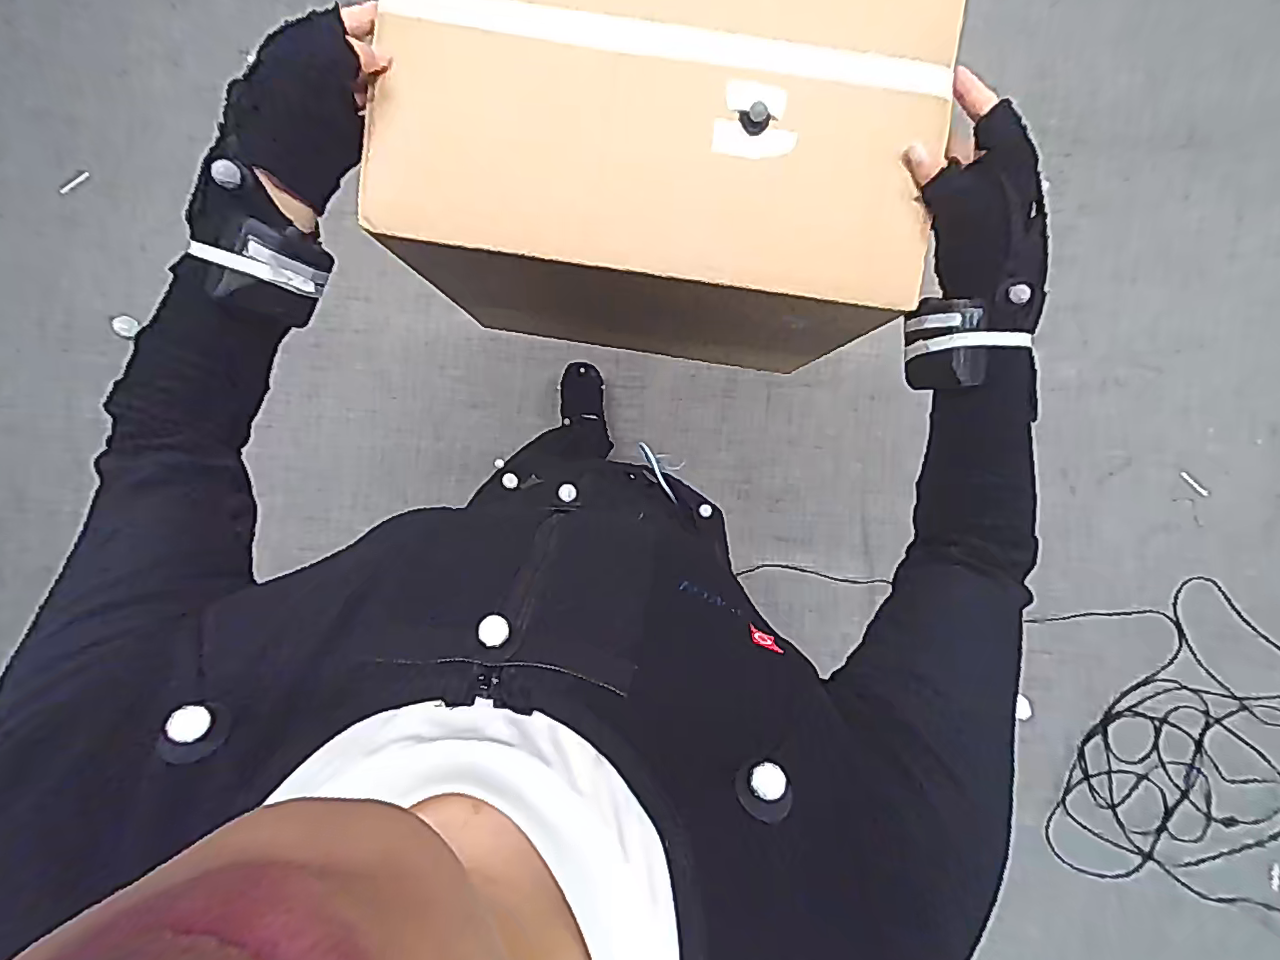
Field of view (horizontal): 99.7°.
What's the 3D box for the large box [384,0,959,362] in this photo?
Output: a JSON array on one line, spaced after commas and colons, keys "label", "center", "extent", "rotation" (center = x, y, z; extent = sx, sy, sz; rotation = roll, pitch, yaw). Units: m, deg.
[{"label": "large box", "center": [0.023, -0.318, 0.541], "extent": [0.408, 0.320, 0.320], "rotation": [8, 94, -1]}]
